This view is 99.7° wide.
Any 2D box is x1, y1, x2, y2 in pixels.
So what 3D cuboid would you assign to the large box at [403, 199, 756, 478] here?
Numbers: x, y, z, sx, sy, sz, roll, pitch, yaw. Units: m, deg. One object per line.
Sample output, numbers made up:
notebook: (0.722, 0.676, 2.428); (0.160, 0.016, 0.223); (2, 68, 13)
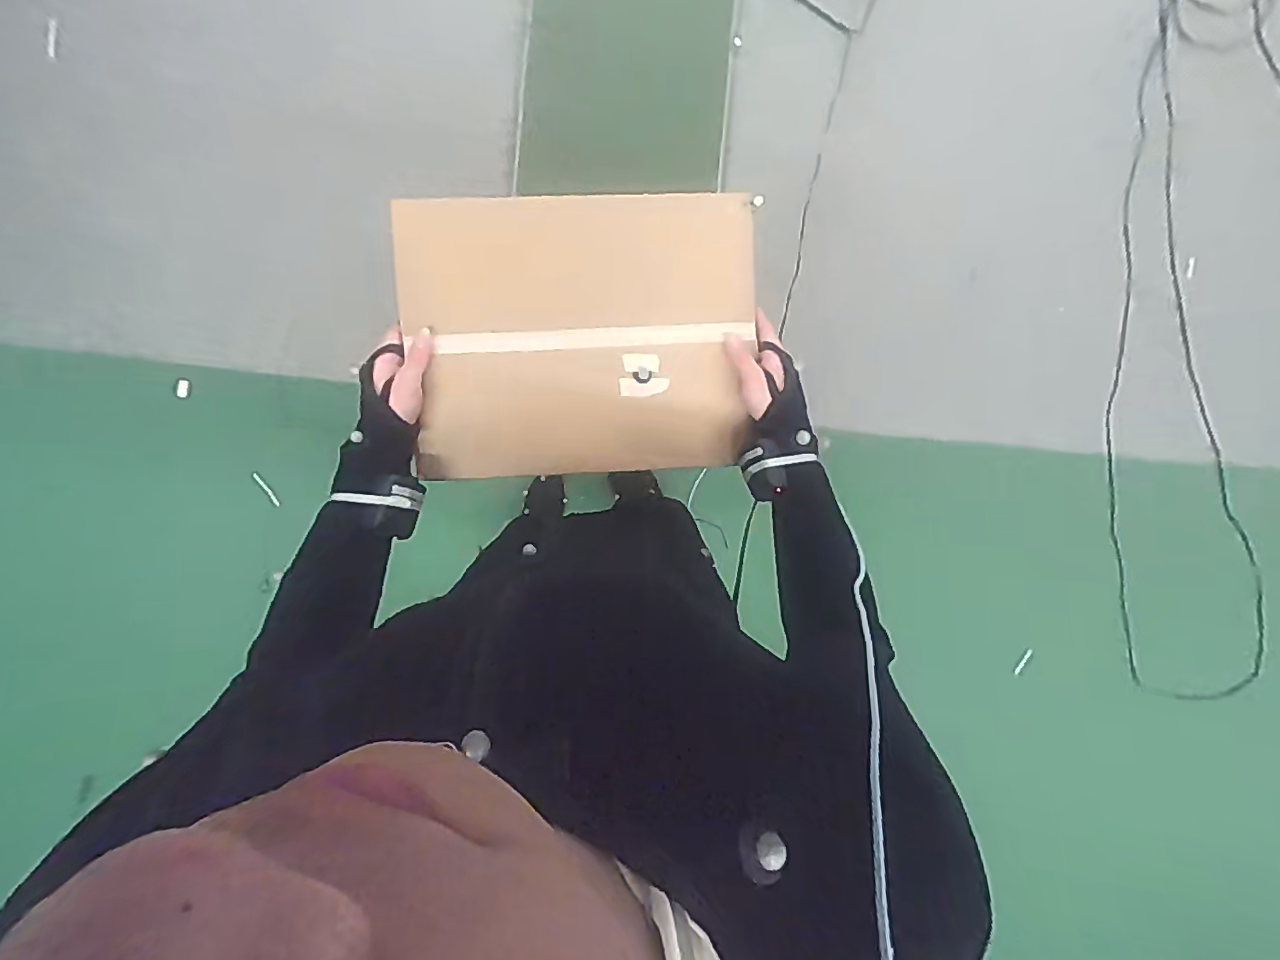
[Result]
large box: (-0.076, -0.181, 0.782); (0.408, 0.320, 0.320); (-3, 97, -5)
